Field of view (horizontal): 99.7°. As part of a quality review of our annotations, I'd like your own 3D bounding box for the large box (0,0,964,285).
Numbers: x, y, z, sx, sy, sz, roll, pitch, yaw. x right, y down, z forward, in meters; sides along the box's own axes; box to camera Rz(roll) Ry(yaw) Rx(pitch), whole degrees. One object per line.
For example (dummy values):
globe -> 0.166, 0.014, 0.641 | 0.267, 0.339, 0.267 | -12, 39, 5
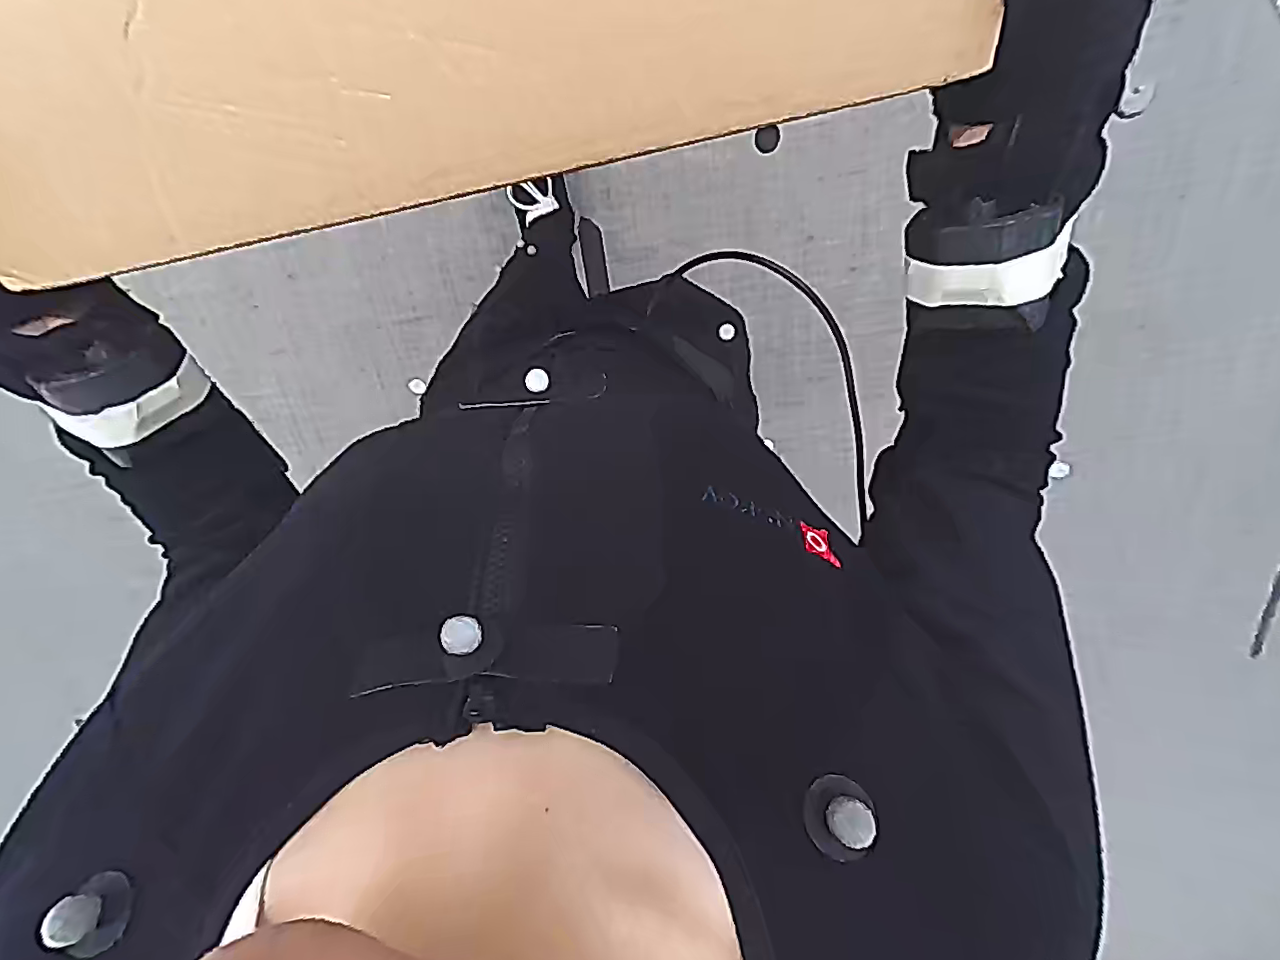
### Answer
large box -> -0.107, -0.332, 0.254 | 0.408, 0.320, 0.320 | -11, 126, 4
